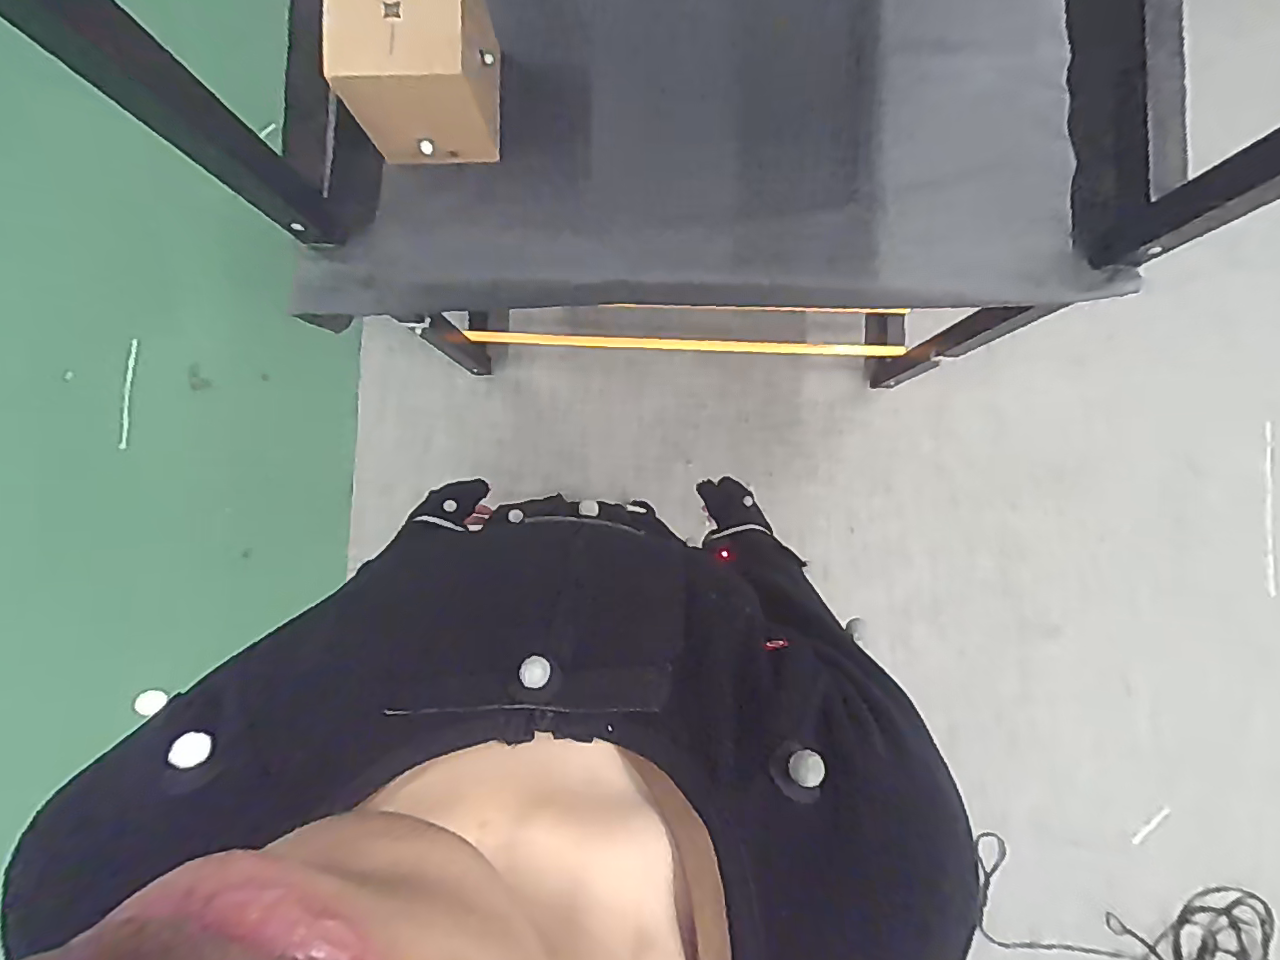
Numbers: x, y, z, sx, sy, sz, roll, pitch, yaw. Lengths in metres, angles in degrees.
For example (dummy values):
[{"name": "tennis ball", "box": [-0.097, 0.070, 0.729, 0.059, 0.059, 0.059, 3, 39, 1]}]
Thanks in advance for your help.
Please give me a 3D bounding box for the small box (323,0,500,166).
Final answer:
[{"name": "small box", "box": [-0.288, -0.551, 0.715, 0.168, 0.176, 0.179, -1, 88, 1]}]
